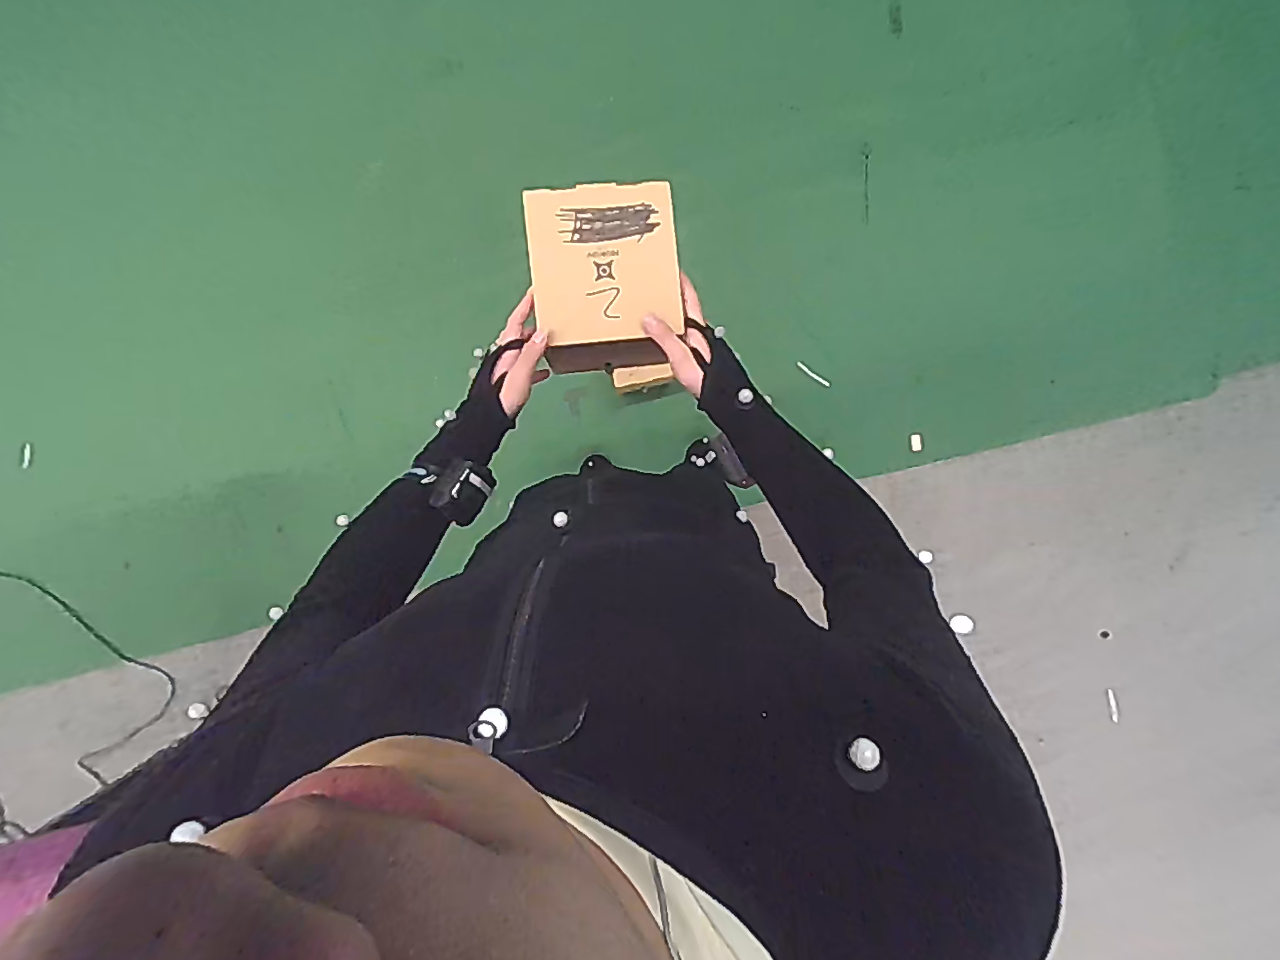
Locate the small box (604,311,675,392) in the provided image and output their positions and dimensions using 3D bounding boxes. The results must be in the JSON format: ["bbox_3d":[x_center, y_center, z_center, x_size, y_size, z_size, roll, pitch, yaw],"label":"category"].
[{"bbox_3d":[-0.003,-0.357,1.530,0.168,0.176,0.179,-12,94,1],"label":"small box"}]
